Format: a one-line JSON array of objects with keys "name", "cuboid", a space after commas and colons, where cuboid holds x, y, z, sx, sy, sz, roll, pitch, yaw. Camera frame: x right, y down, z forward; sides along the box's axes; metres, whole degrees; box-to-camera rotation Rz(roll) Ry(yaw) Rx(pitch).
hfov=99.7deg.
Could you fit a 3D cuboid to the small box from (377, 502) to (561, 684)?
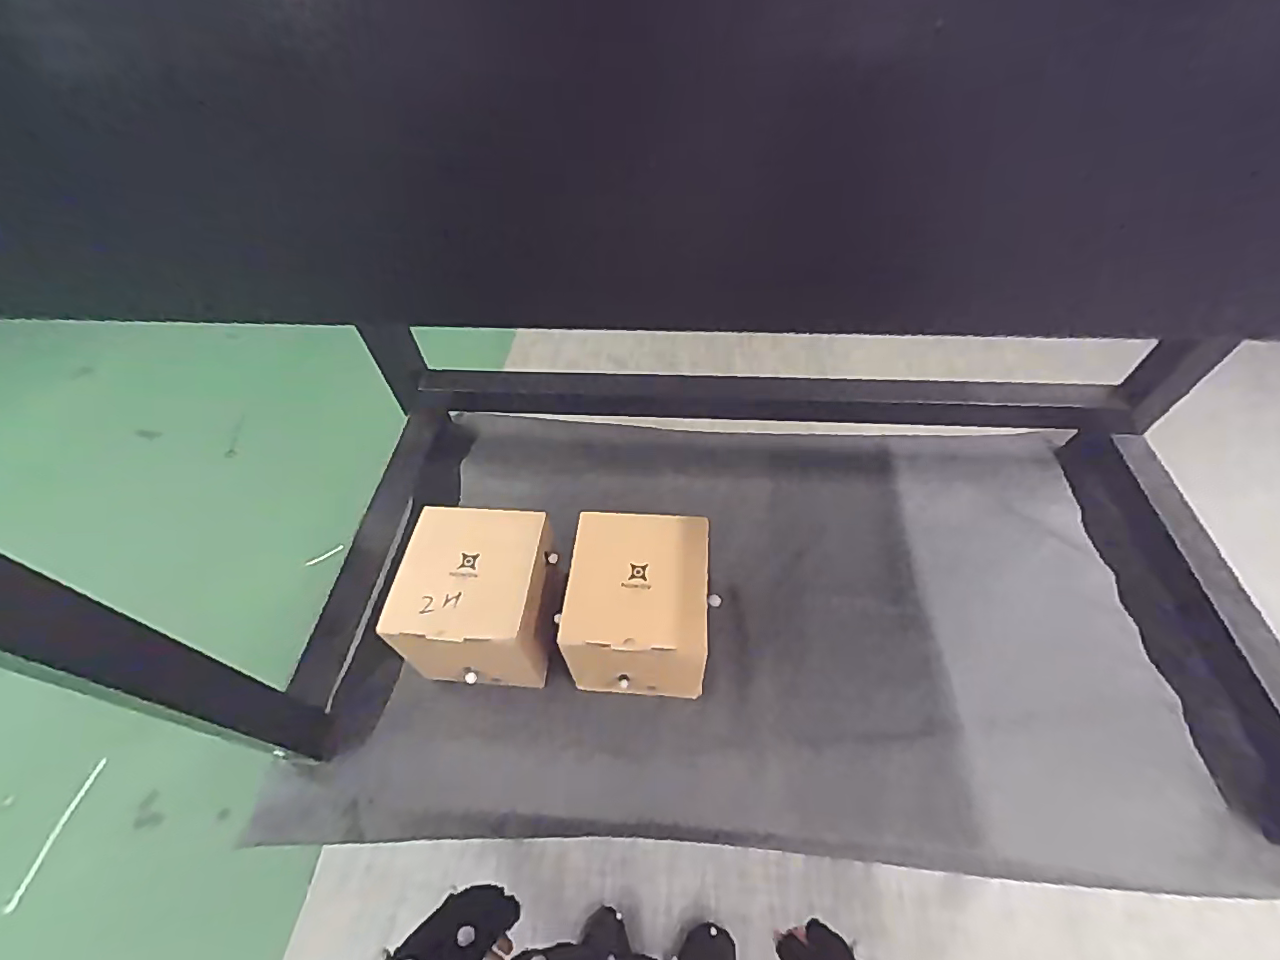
[{"name": "small box", "cuboid": [-0.206, 0.150, 0.715, 0.168, 0.176, 0.179, 3, 53, 5]}]
